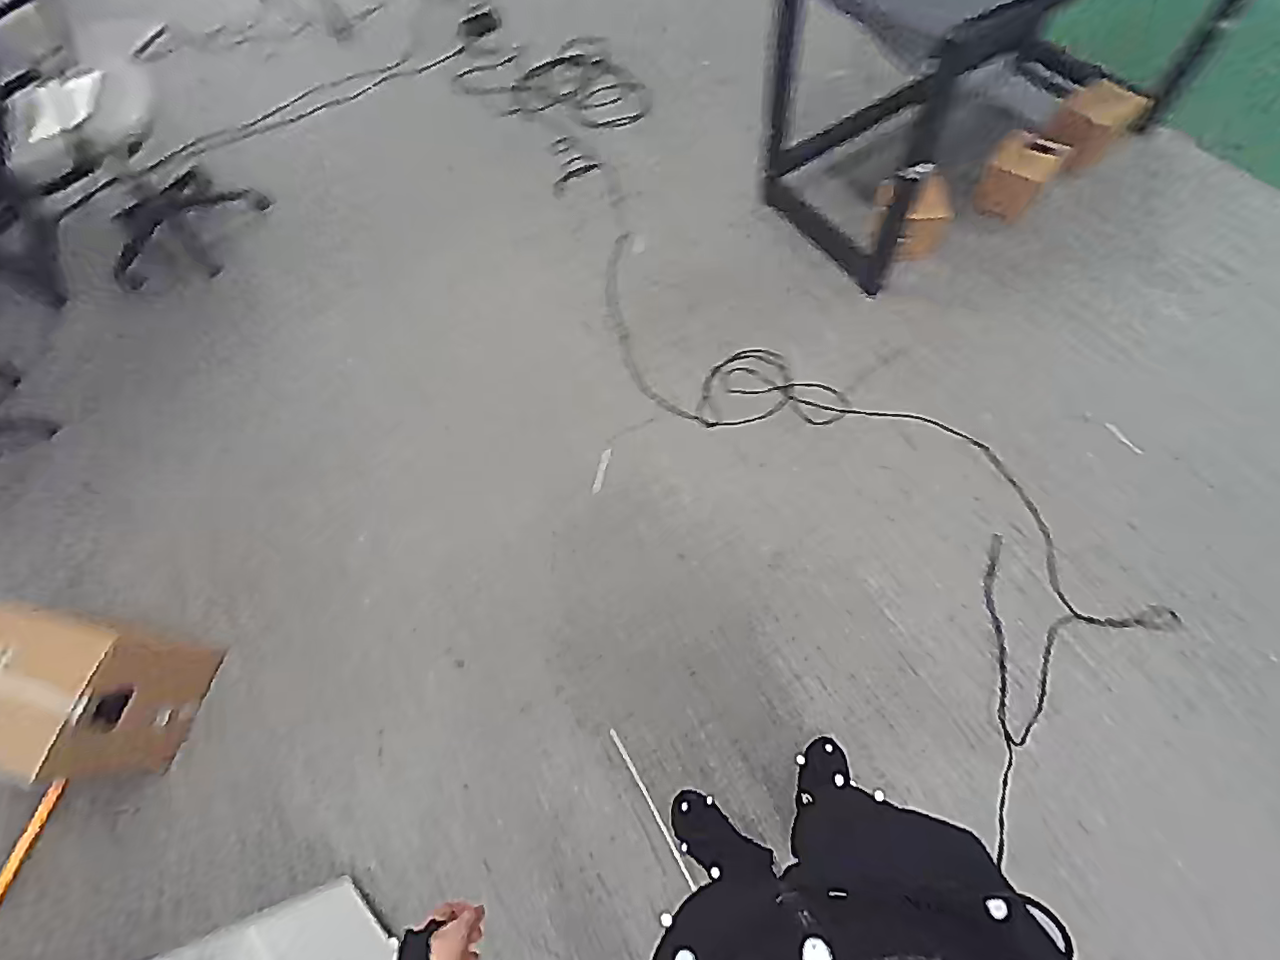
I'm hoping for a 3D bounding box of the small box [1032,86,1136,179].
[{"bbox_3d":[1.430,-1.125,1.763,0.179,0.176,0.168,-33,67,-7],"label":"small box"}]

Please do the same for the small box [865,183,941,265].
[{"bbox_3d":[0.827,-0.802,1.715,0.168,0.176,0.179,-1,66,8],"label":"small box"}]
